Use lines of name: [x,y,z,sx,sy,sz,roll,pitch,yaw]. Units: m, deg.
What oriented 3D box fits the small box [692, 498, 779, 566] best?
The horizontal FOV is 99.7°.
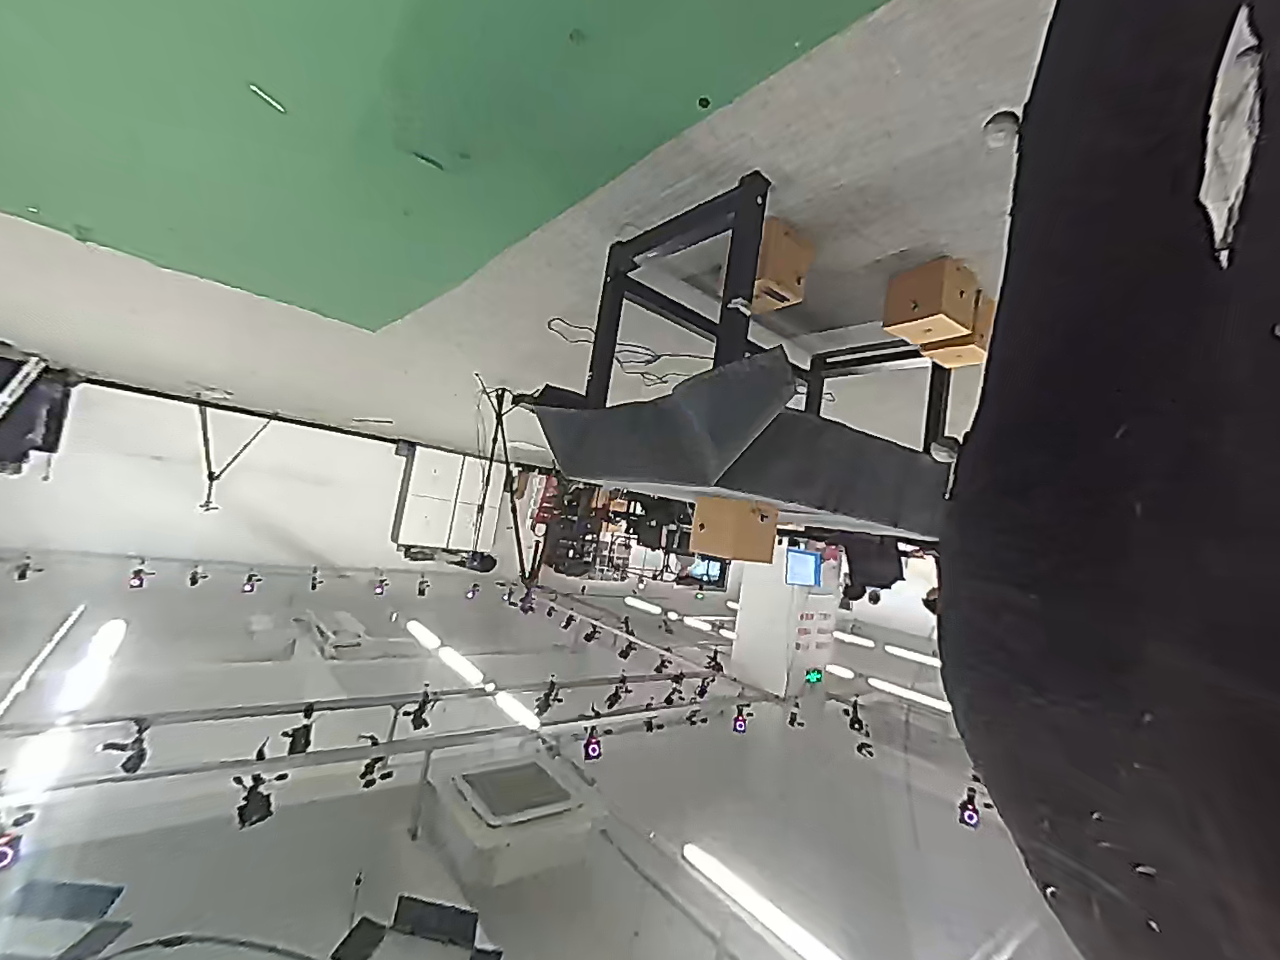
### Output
small box: [0.276,0.144,1.545,0.168,0.176,0.179,10,176,-36]
